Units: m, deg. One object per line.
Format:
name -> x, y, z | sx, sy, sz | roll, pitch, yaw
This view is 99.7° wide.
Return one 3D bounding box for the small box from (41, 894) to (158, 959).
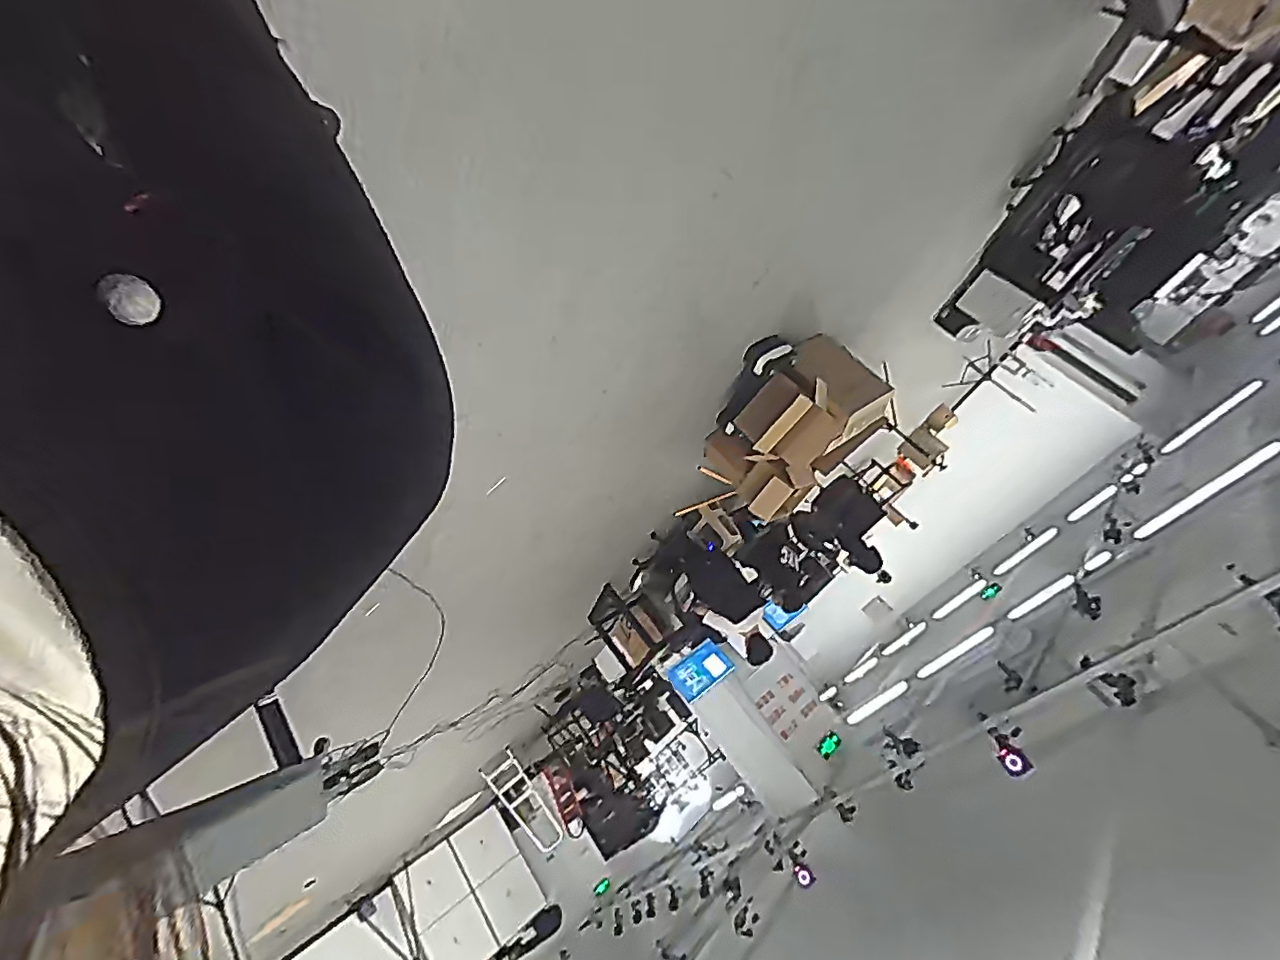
small box -> -1.423, 1.247, 1.423 | 0.179, 0.176, 0.168 | -22, 151, -36
